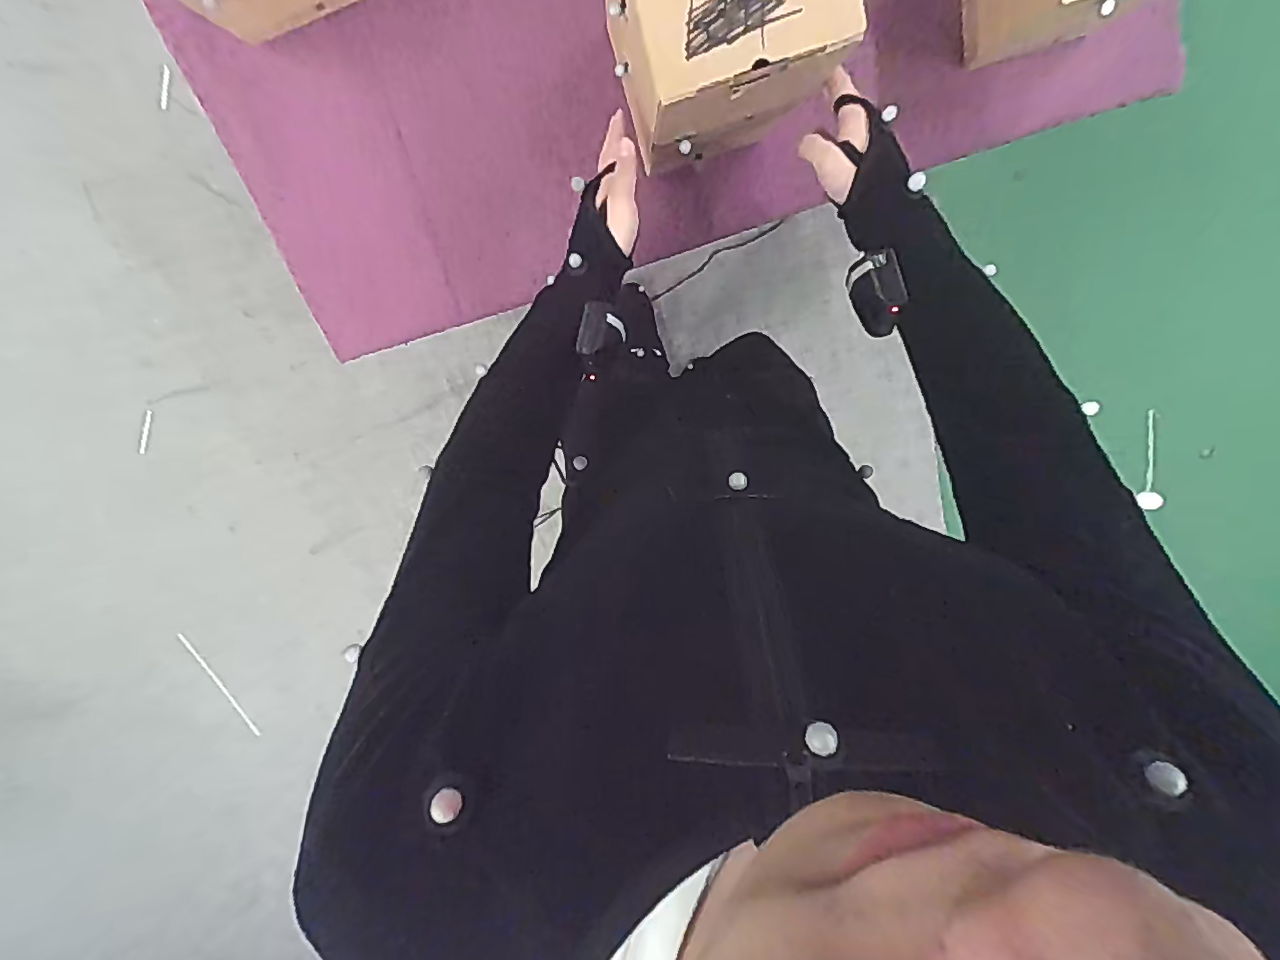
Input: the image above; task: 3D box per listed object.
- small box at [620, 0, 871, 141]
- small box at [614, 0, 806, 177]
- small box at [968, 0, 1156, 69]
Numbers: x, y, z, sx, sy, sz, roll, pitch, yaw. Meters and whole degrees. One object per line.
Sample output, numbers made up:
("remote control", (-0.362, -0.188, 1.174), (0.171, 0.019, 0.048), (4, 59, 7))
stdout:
("small box", (0.073, -0.415, 0.459), (0.168, 0.176, 0.179), (-16, 108, 4))
("small box", (0.069, -0.474, 0.613), (0.168, 0.176, 0.179), (-16, 110, 4))
("small box", (0.480, -0.596, 0.584), (0.168, 0.176, 0.179), (-14, 108, 4))
